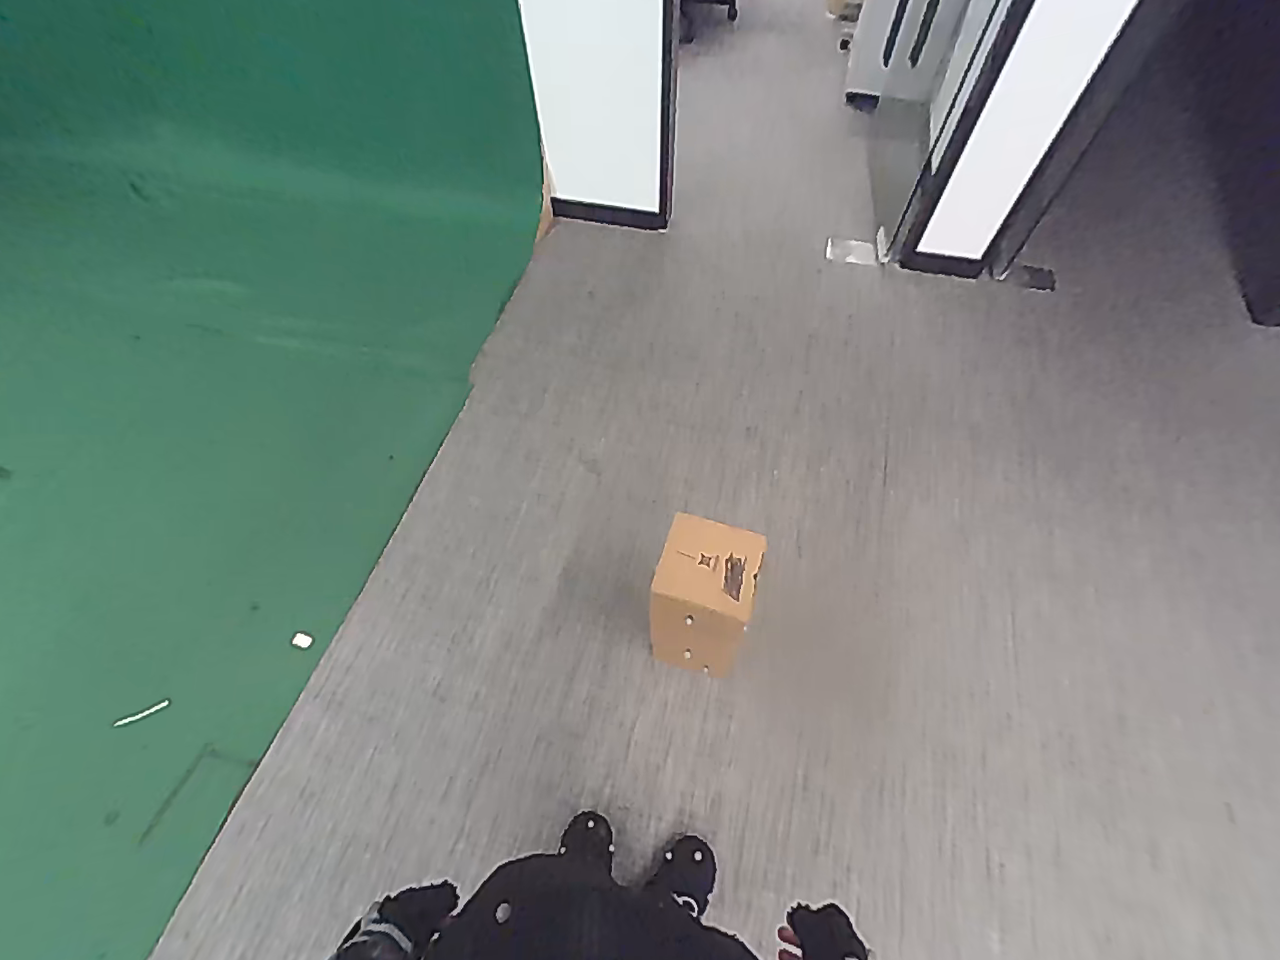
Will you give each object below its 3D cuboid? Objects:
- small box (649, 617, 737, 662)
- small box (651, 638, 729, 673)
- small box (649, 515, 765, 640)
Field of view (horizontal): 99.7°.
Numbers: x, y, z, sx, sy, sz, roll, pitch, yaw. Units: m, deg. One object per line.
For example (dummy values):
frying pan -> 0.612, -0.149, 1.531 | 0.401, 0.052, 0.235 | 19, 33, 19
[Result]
small box -> 0.128, 0.279, 1.171 | 0.179, 0.176, 0.168 | 18, 61, 11
small box -> 0.133, 0.358, 1.315 | 0.179, 0.176, 0.168 | 13, 60, 10
small box -> 0.123, 0.193, 1.031 | 0.179, 0.176, 0.168 | 14, 61, 8
